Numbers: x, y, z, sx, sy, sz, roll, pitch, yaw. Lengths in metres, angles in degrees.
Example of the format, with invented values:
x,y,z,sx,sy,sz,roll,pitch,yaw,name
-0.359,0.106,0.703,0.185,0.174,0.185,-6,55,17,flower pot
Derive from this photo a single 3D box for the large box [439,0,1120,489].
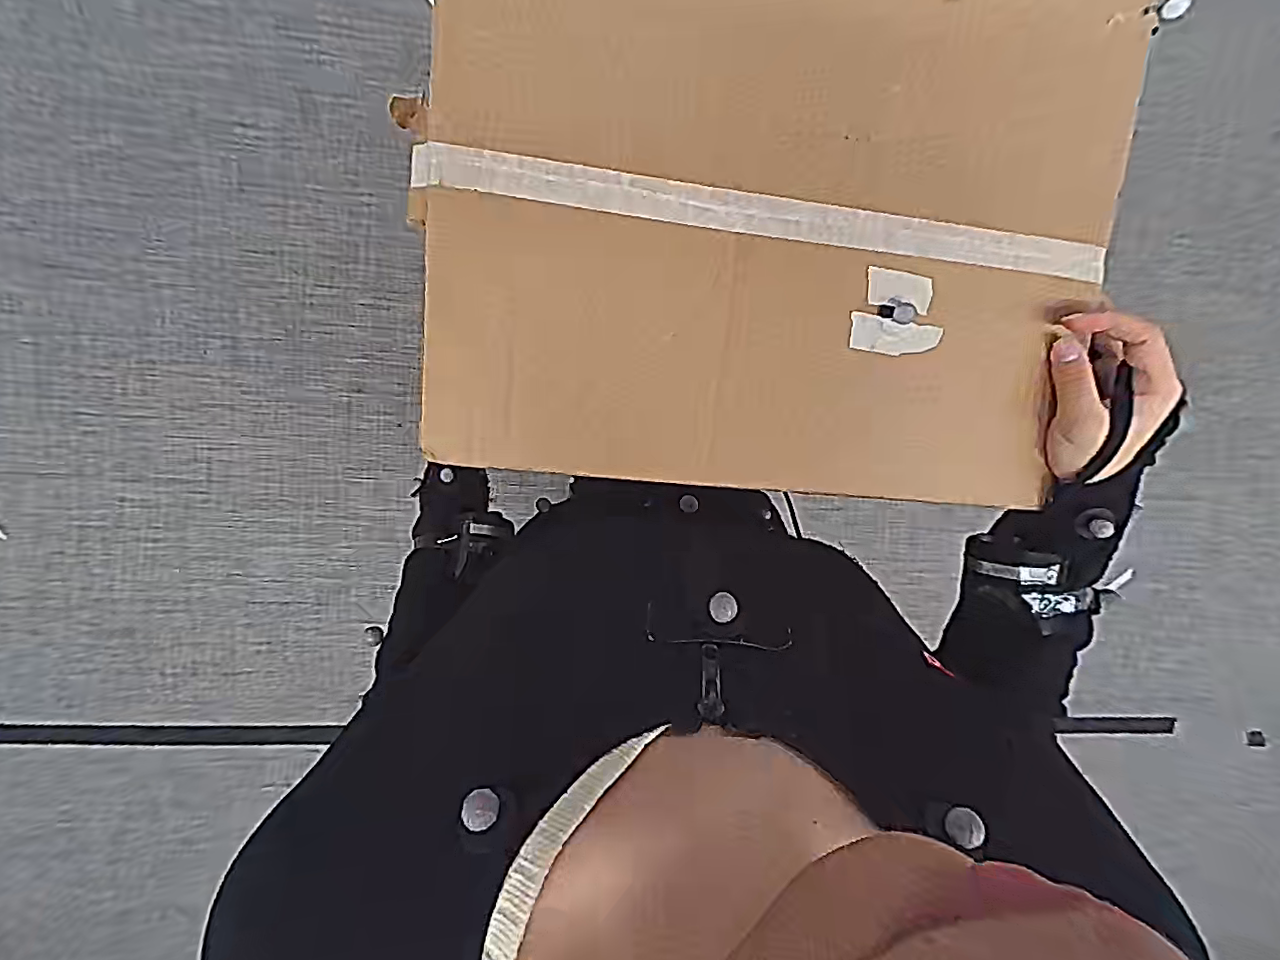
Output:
x,y,z,sx,sy,sz,roll,pitch,yaw,name
0.065,-0.177,0.465,0.408,0.320,0.320,4,99,-10,large box
